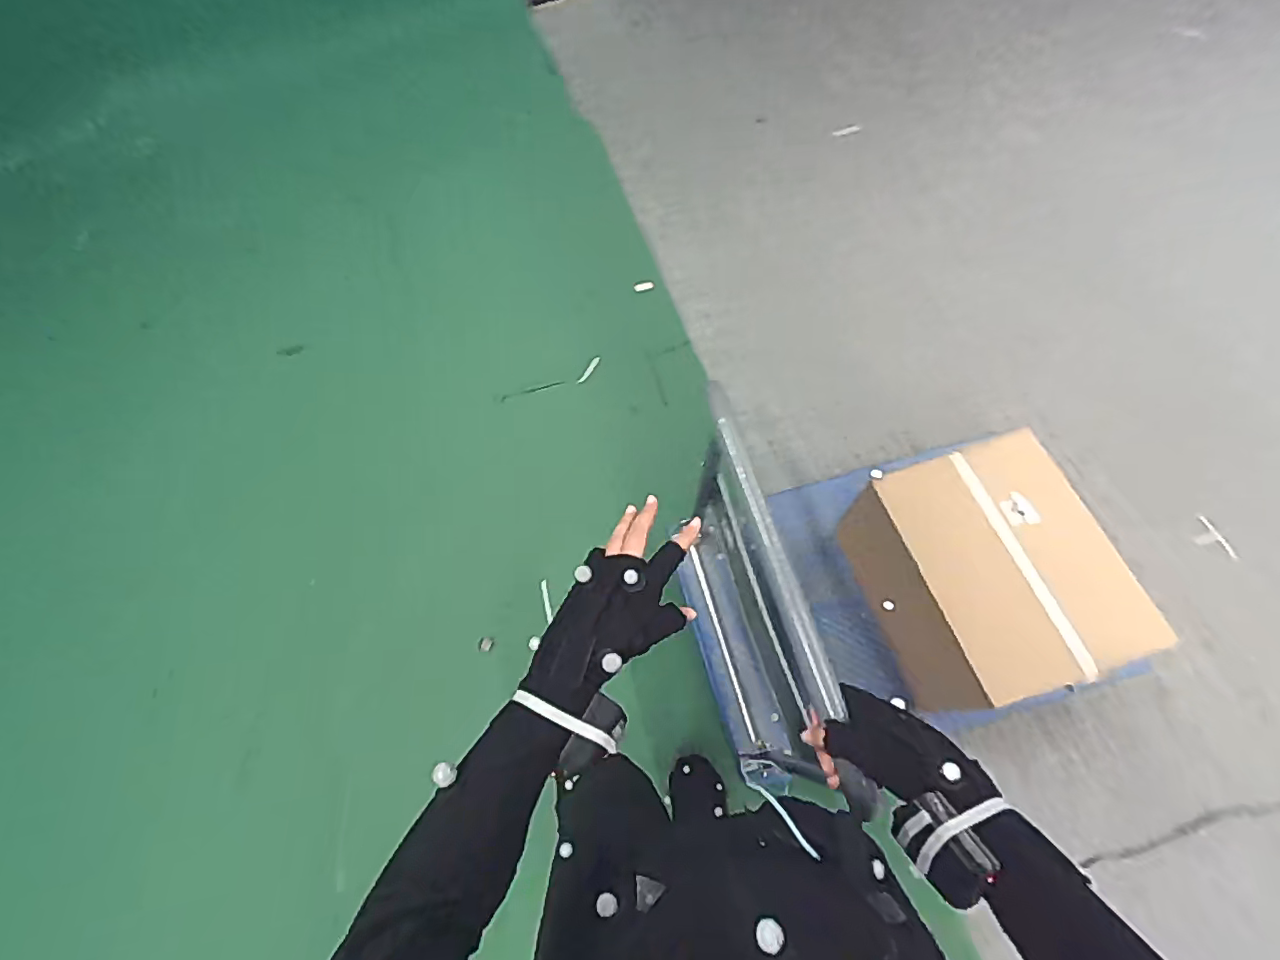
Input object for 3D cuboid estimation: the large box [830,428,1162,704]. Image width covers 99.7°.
[{"bbox_3d":[0.630,0.180,1.054,0.320,0.320,0.408,-18,65,-3],"label":"large box"}]
